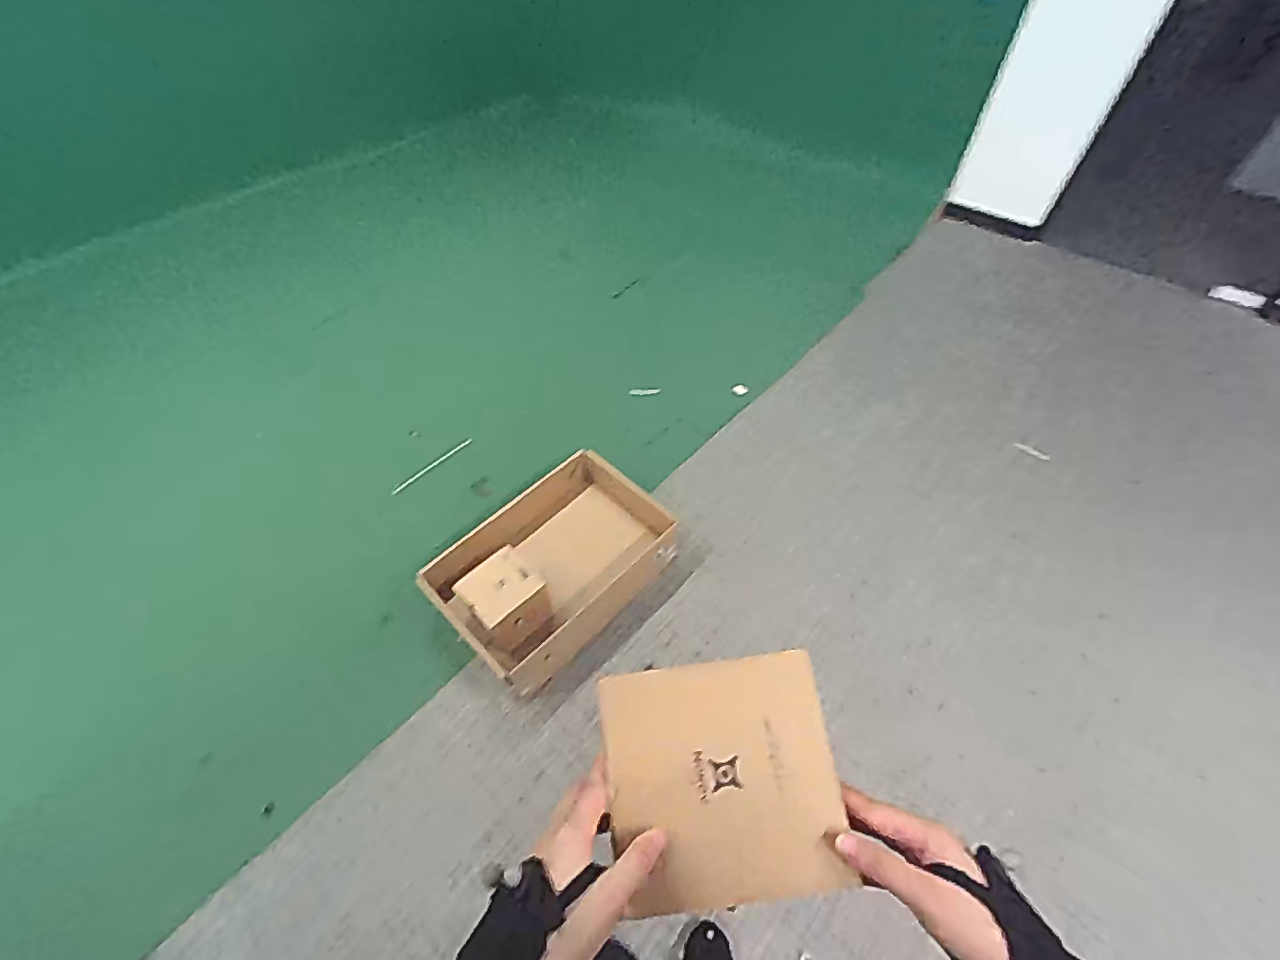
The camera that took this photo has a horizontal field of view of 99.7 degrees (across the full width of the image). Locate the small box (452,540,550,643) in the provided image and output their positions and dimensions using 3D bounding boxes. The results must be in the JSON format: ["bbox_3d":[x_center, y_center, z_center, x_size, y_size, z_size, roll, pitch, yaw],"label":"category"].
[{"bbox_3d":[-0.359,0.300,1.431,0.179,0.176,0.168,-38,63,-25],"label":"small box"}]
